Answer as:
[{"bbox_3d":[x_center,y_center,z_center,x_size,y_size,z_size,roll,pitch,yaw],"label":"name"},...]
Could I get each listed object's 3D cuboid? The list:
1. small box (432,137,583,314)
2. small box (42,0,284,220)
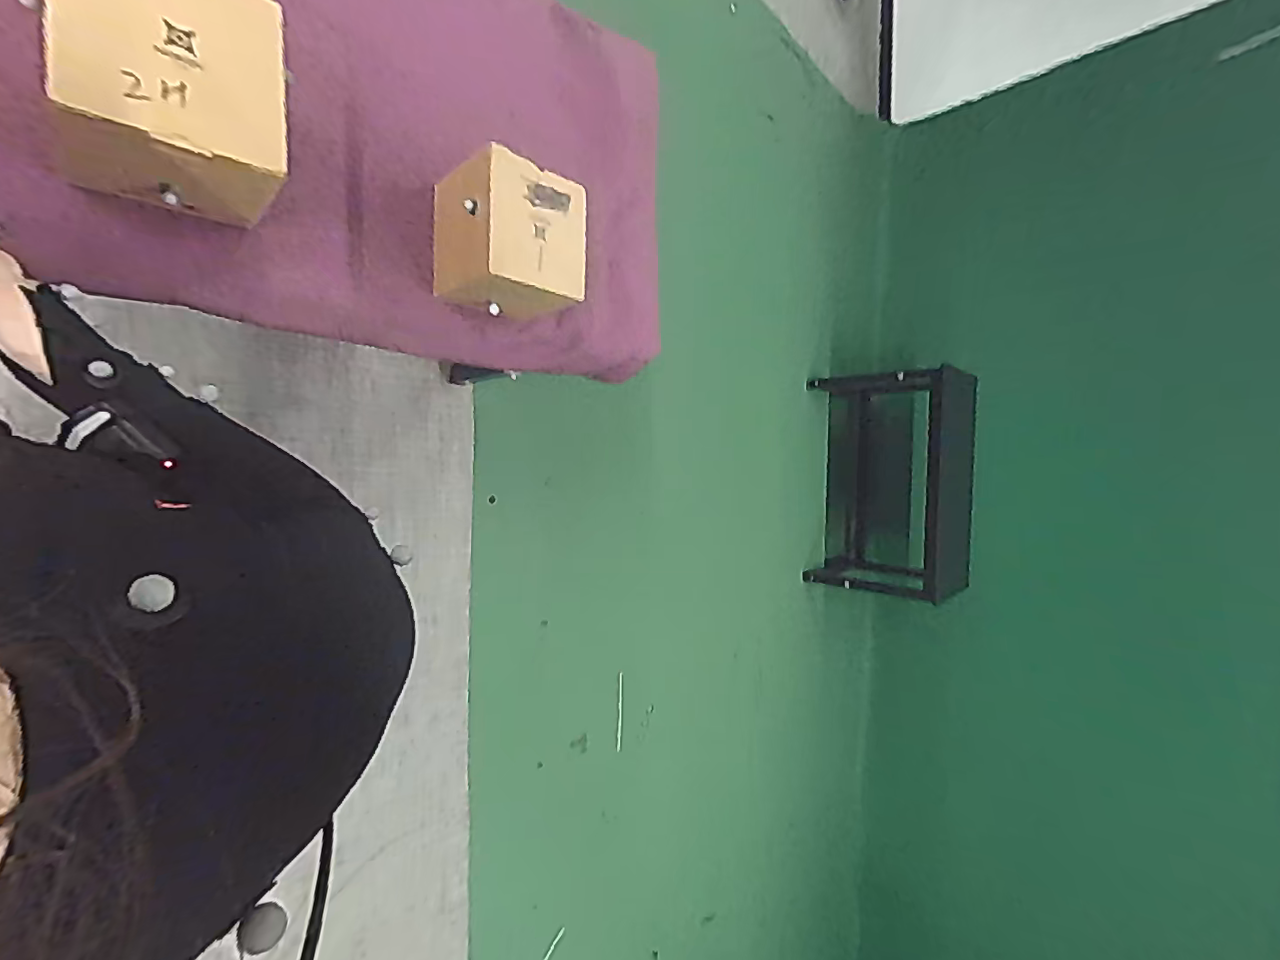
[{"bbox_3d":[-0.205,-0.371,0.828,0.168,0.176,0.179,-1,93,-46],"label":"small box"},{"bbox_3d":[-0.476,-0.396,0.542,0.168,0.176,0.179,-3,93,-45],"label":"small box"}]
